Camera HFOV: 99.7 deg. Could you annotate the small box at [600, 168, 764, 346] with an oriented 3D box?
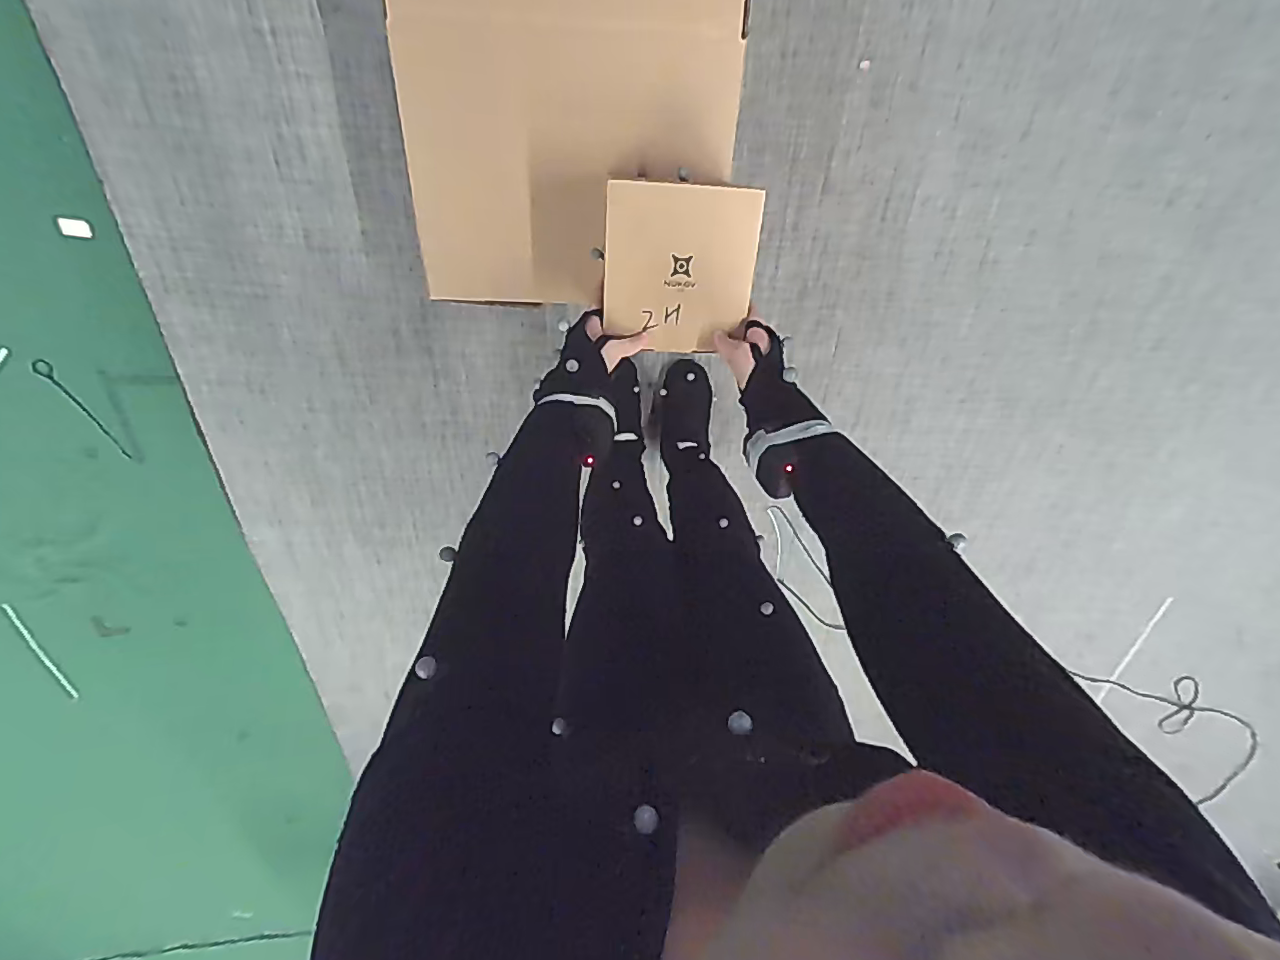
[{"bbox_3d":[0.037,-0.275,0.658,0.168,0.176,0.179,1,121,-5],"label":"small box"}]
